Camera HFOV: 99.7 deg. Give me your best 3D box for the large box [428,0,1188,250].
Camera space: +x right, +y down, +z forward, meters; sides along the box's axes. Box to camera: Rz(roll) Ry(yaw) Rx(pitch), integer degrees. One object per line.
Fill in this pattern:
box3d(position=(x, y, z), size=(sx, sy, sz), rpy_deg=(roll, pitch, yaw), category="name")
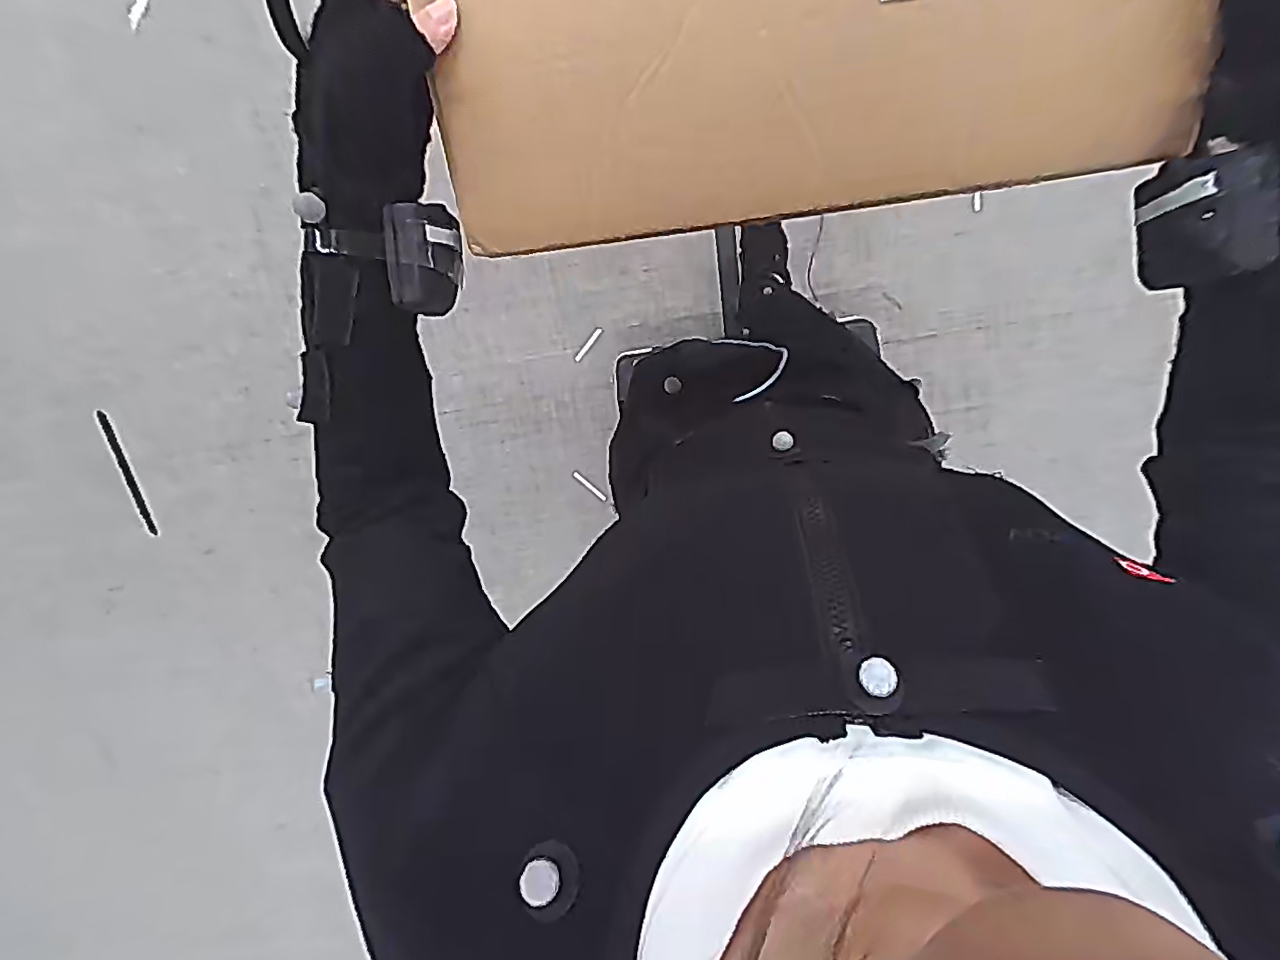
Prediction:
box3d(position=(0.084, -0.371, 0.402), size=(0.408, 0.320, 0.320), rpy_deg=(-5, 115, 8), category="large box")
